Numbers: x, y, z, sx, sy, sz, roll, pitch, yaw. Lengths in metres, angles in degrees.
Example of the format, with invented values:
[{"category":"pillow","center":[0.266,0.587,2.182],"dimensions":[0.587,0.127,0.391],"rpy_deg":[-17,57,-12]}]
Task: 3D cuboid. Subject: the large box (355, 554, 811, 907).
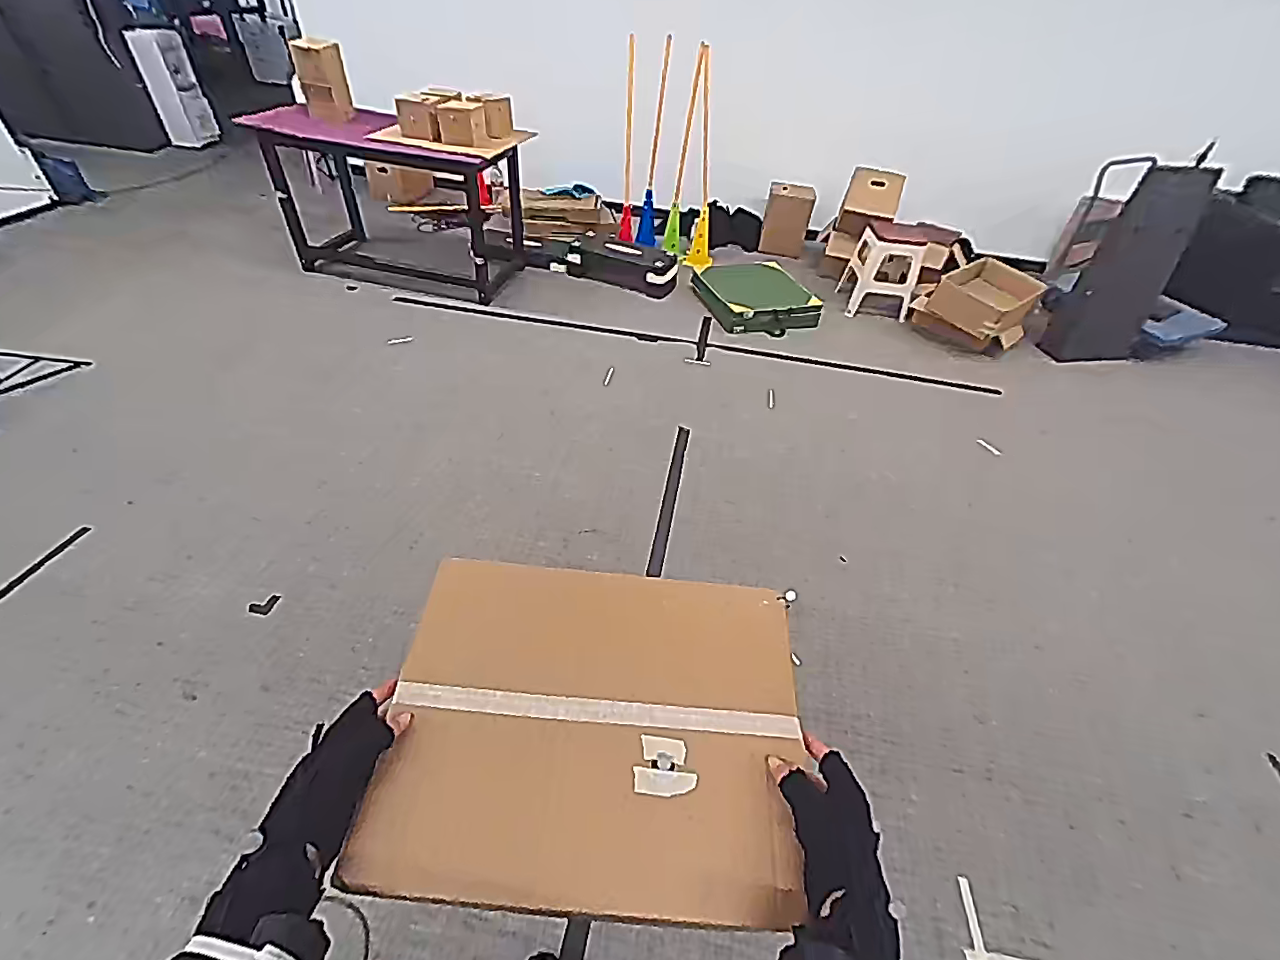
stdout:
[{"category":"large box","center":[-0.053,0.317,0.670],"dimensions":[0.408,0.320,0.320],"rpy_deg":[6,51,-1]}]
